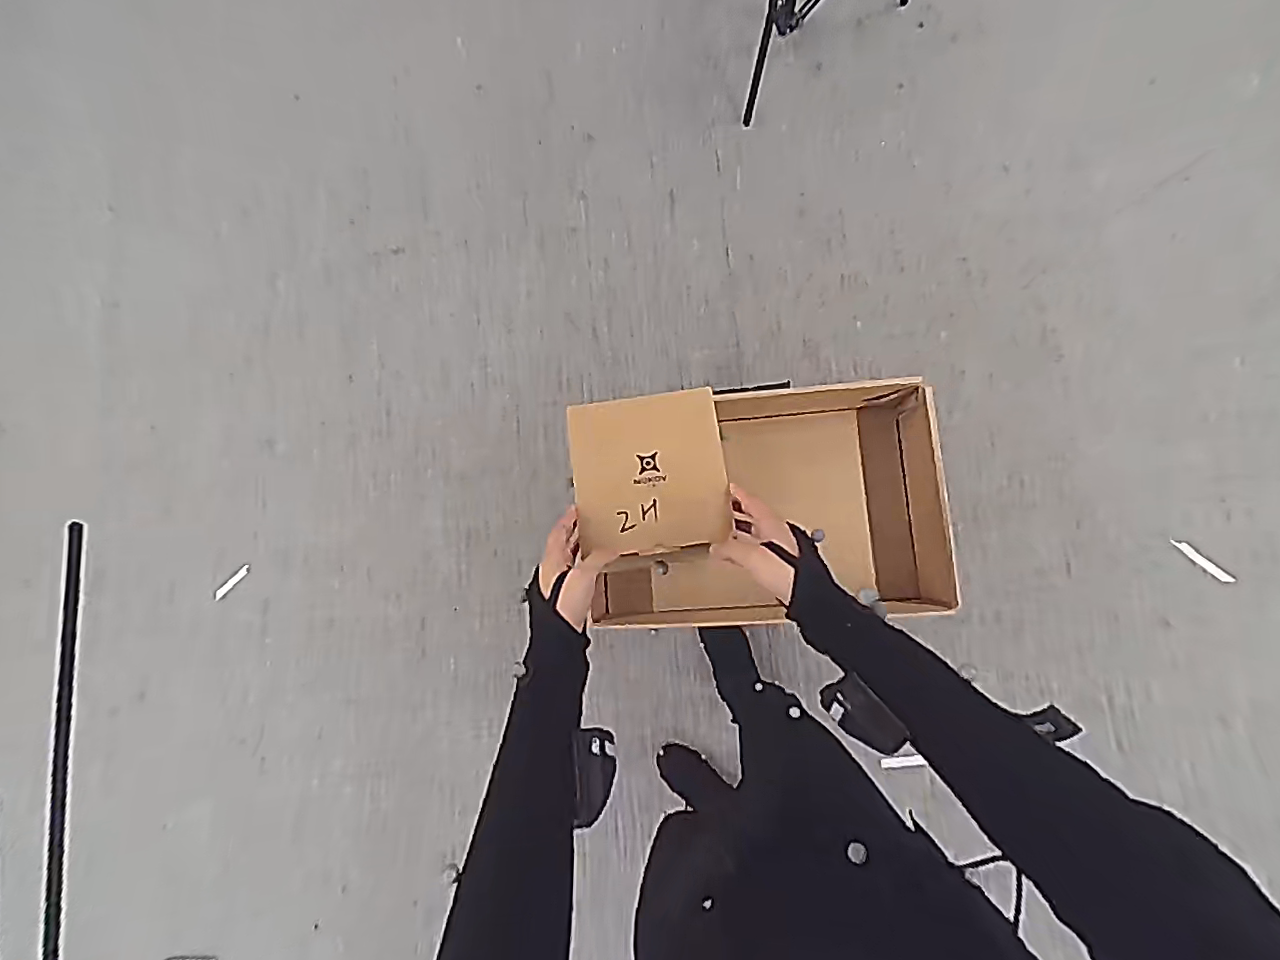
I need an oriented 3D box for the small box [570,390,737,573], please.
[{"bbox_3d":[0.016,0.012,0.655,0.168,0.176,0.179,-8,77,3],"label":"small box"}]
